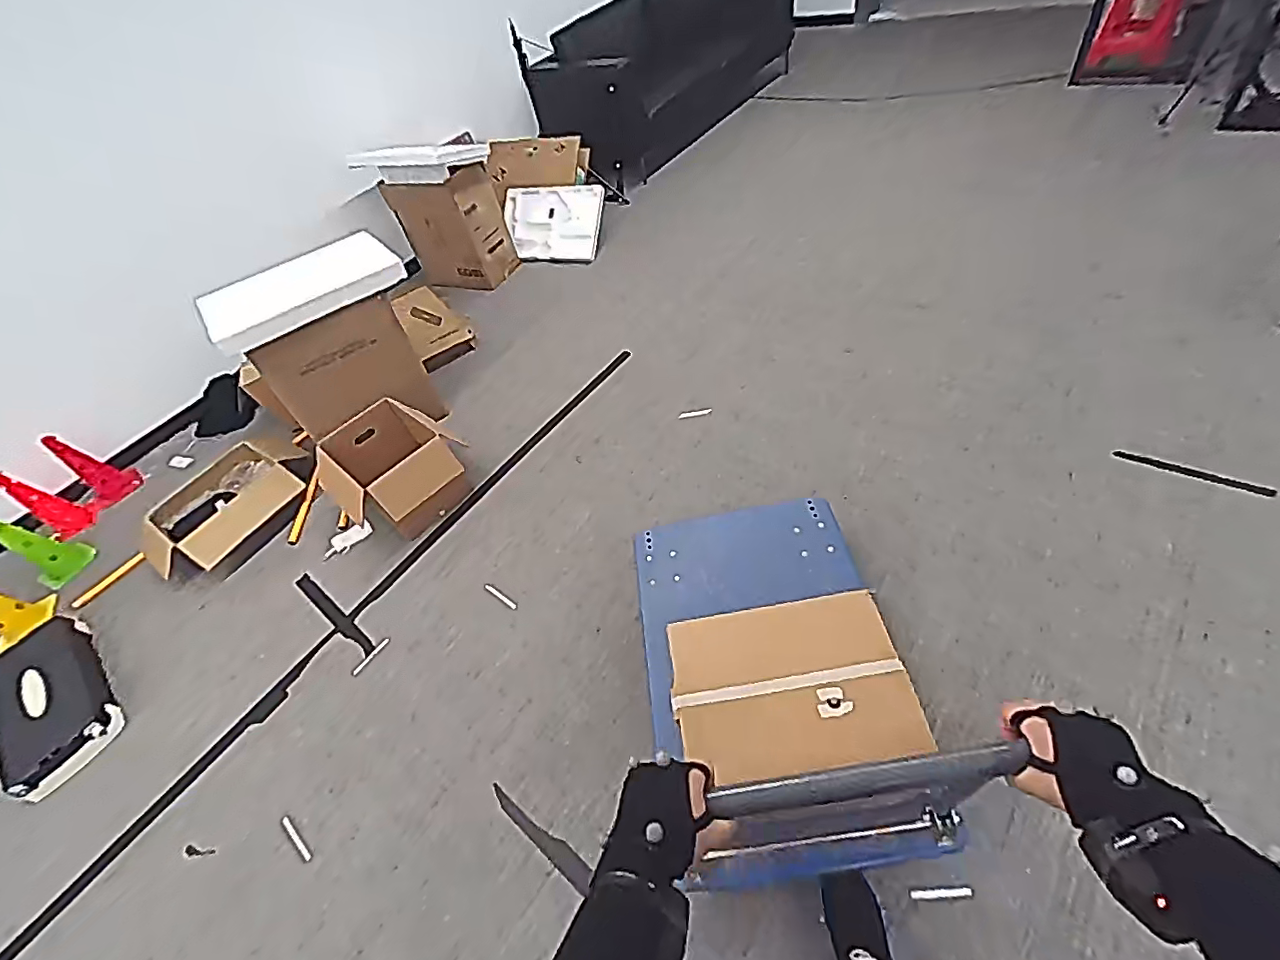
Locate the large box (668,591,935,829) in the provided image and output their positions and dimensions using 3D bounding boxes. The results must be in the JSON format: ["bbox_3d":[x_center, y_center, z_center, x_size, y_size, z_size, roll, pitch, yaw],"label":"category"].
[{"bbox_3d":[0.289,0.466,1.082,0.408,0.320,0.320,-11,49,3],"label":"large box"}]
